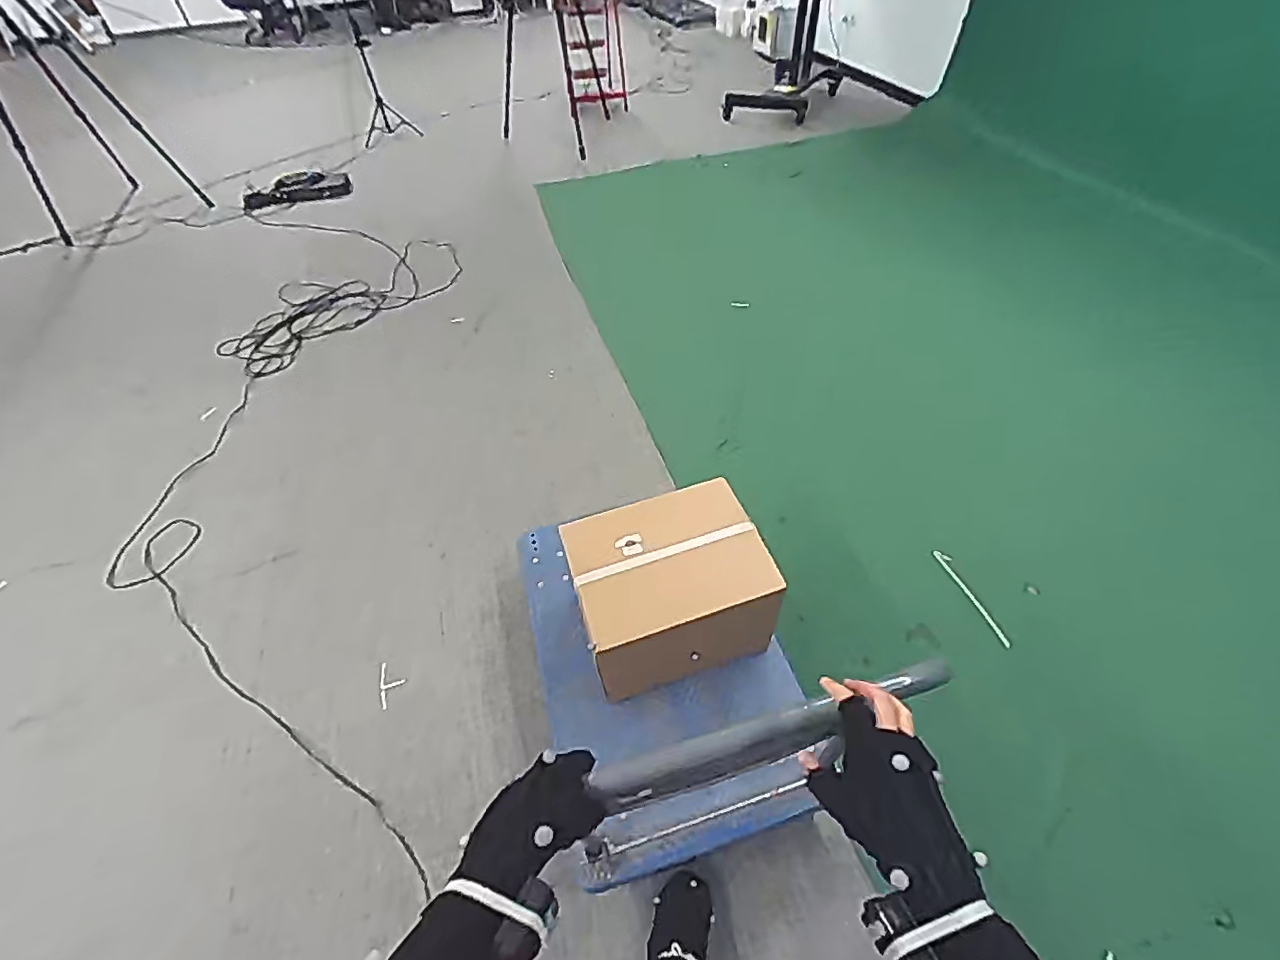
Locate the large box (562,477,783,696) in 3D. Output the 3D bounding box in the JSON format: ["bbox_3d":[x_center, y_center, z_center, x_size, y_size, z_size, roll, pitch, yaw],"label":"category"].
[{"bbox_3d":[0.071,0.253,1.277,0.408,0.320,0.320,-18,51,-9],"label":"large box"}]
